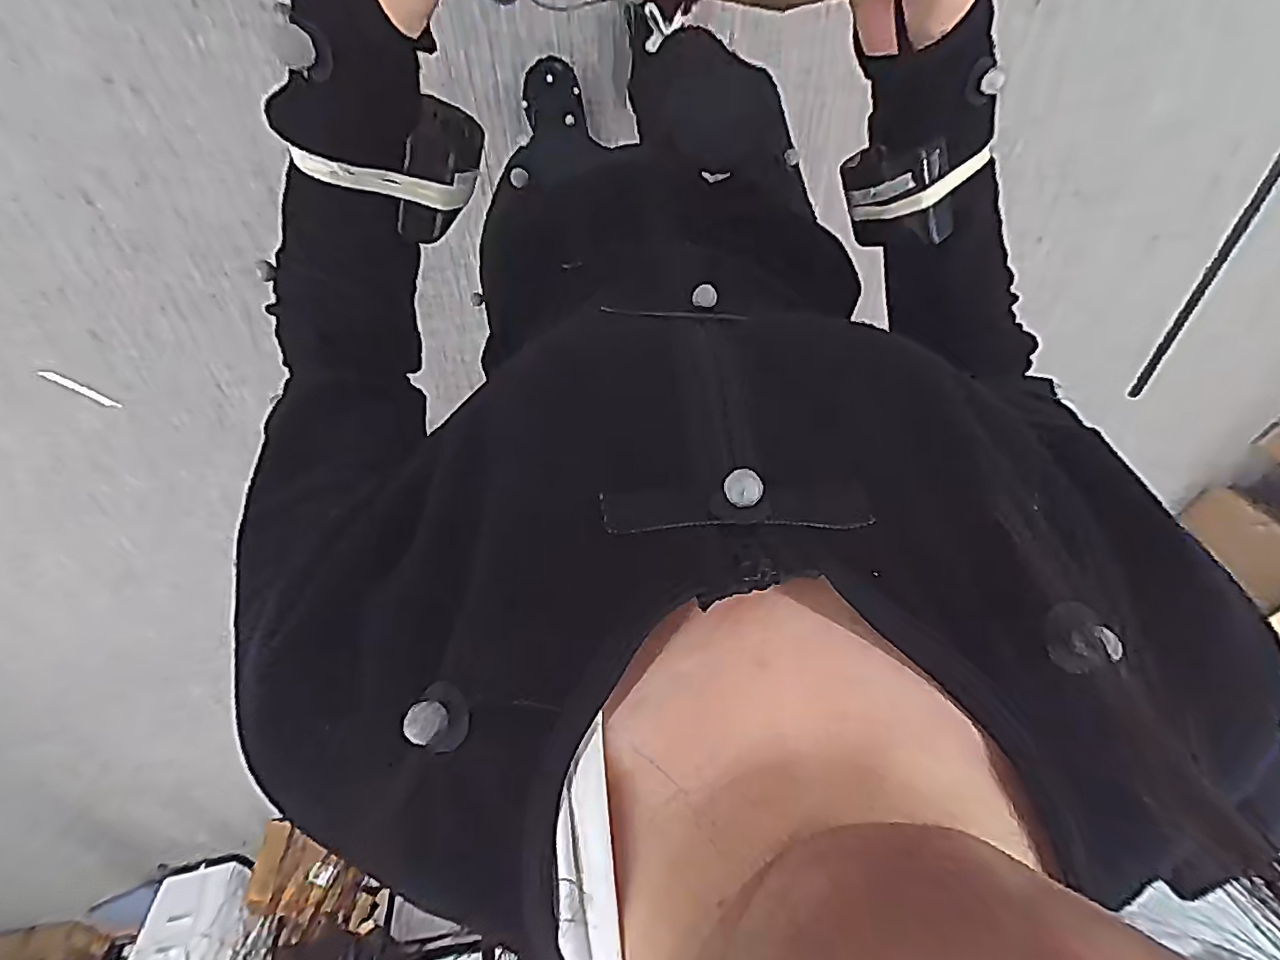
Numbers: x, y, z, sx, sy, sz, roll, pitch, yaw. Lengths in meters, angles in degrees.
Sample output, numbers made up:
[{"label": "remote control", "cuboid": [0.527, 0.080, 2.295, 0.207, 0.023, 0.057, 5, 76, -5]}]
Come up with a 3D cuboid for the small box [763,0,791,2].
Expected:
[{"label": "small box", "cuboid": [0.033, -0.301, 0.192, 0.168, 0.176, 0.179, 2, 127, -11]}]

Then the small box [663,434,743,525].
[{"label": "small box", "cuboid": [0.174, -0.007, 1.502, 0.179, 0.176, 0.168, -14, 129, 1]}]
